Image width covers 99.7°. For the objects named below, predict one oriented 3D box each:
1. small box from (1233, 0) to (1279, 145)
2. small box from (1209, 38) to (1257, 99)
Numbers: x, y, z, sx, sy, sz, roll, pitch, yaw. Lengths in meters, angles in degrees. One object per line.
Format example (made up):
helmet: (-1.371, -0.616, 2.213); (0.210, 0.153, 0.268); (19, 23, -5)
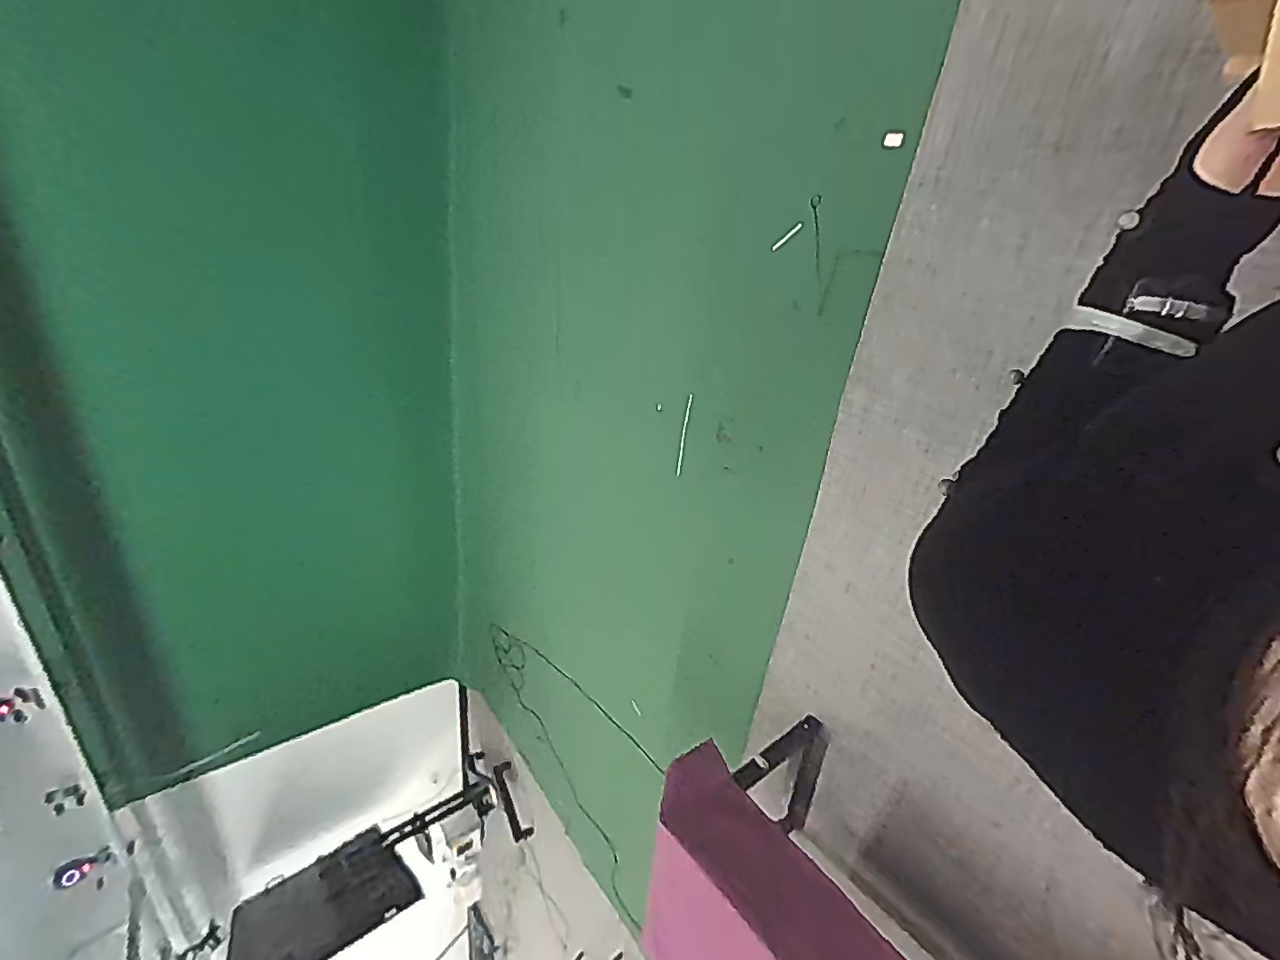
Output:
small box: (0.370, -0.231, 0.184); (0.179, 0.176, 0.168); (24, 129, 52)
small box: (0.745, -0.504, 0.549); (0.168, 0.176, 0.179); (33, 125, 41)
